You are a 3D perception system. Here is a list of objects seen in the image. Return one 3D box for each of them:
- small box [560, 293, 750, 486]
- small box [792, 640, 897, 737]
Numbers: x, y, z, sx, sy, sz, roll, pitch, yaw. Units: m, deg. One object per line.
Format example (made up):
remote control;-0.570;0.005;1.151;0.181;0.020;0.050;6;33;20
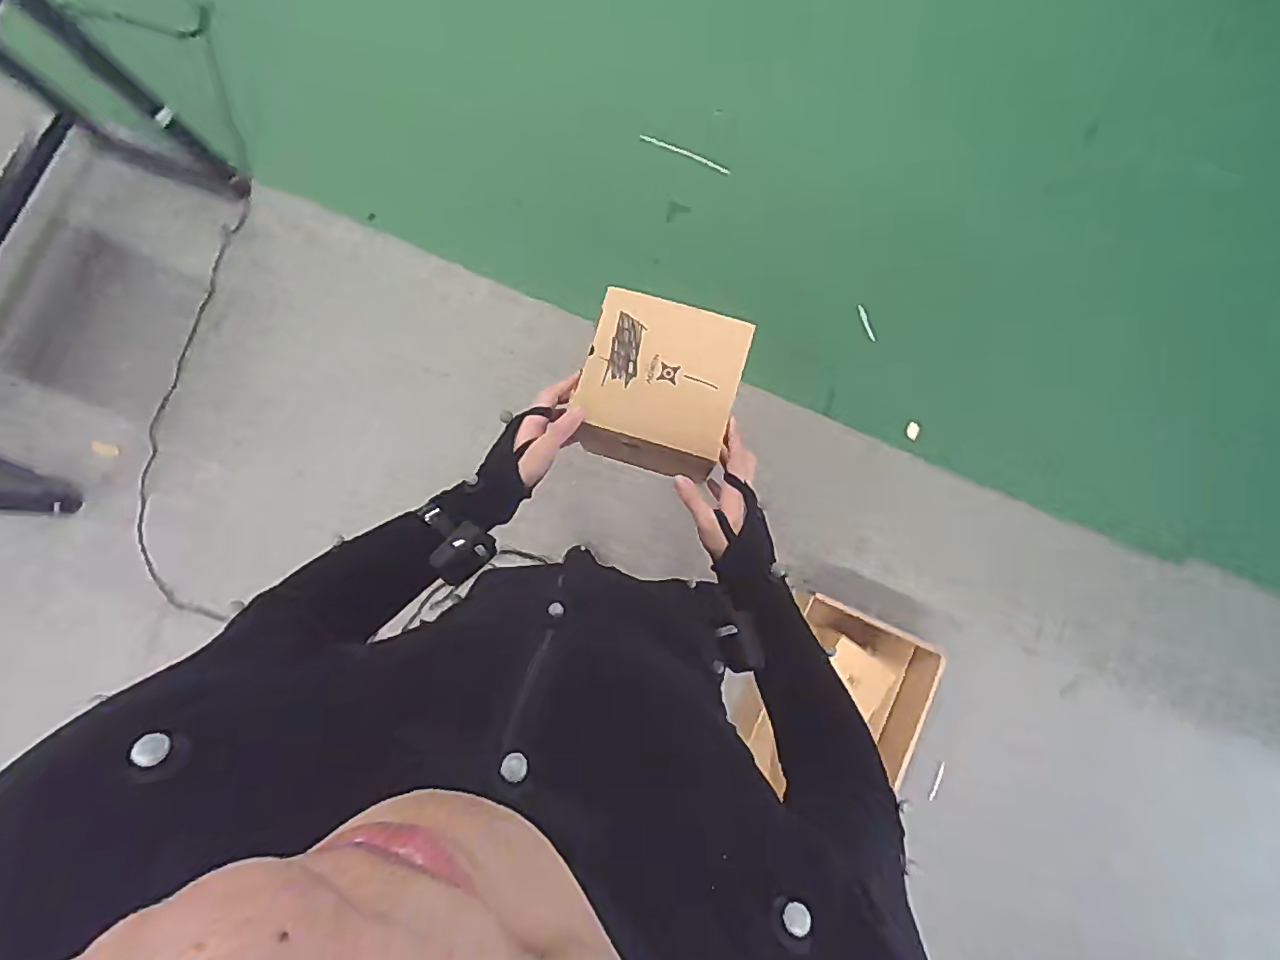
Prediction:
small box;0.019;-0.100;0.675;0.179;0.176;0.168;16;81;3
small box;0.544;0.553;1.467;0.179;0.176;0.168;36;84;2
